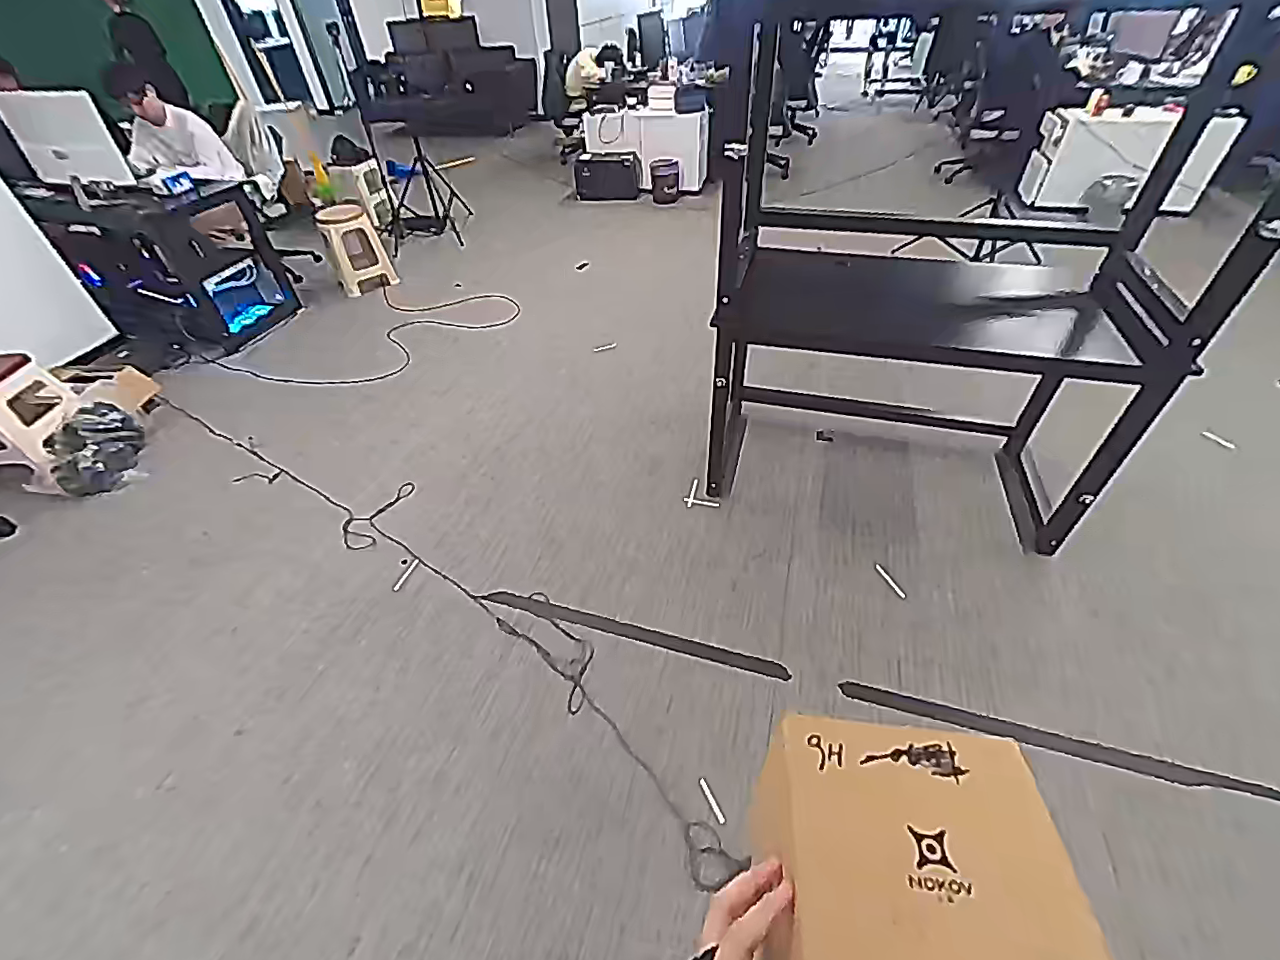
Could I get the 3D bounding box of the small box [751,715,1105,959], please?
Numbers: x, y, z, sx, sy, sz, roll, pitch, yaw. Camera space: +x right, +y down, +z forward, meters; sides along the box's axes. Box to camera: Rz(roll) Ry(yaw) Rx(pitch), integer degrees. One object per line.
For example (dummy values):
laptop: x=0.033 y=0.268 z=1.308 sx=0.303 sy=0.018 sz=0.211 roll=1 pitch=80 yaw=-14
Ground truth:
small box: x=0.171 y=0.293 z=0.371 sx=0.168 sy=0.176 sz=0.179 roll=5 pitch=39 yaw=5
